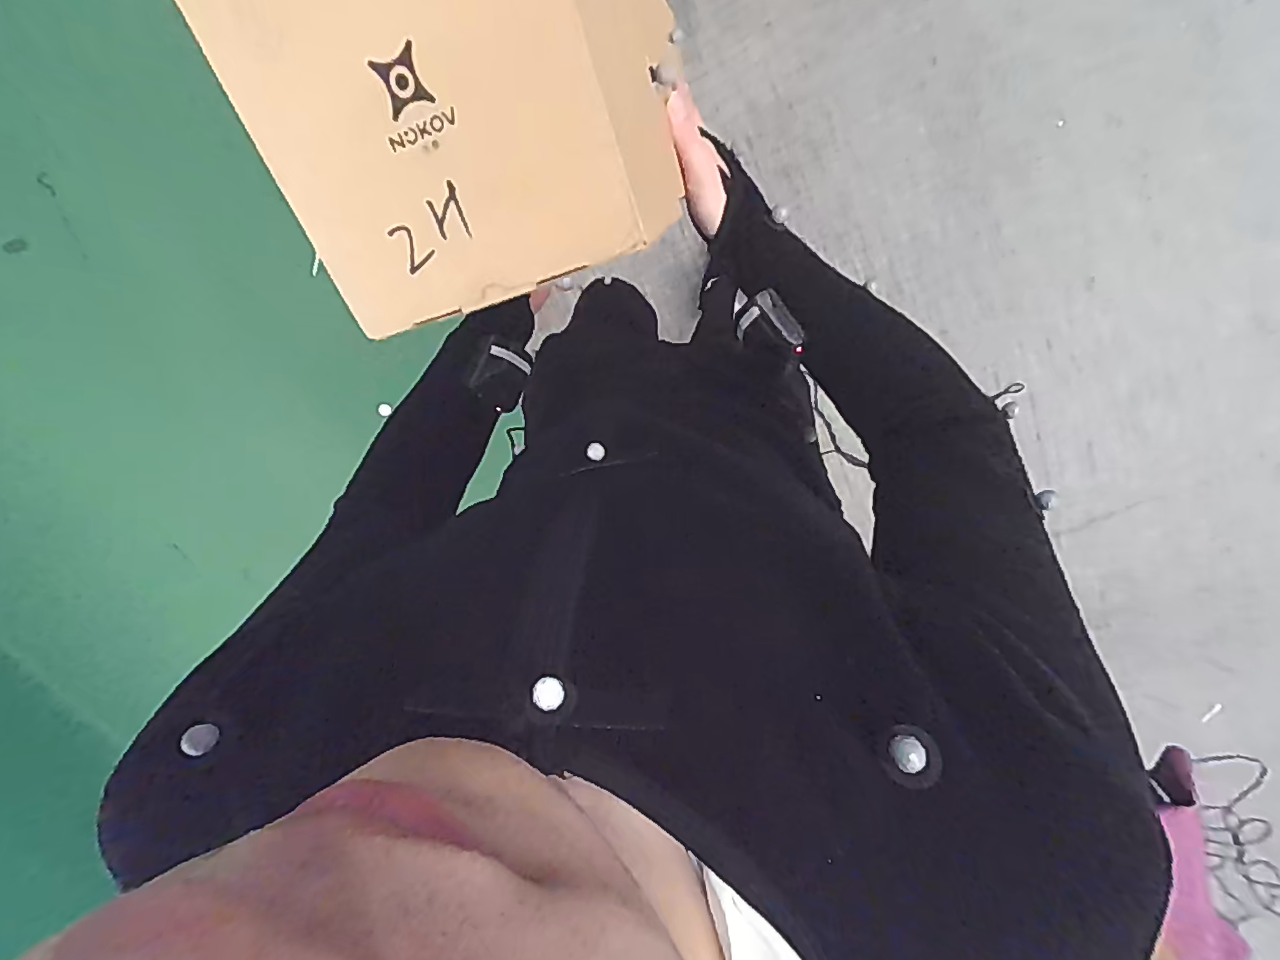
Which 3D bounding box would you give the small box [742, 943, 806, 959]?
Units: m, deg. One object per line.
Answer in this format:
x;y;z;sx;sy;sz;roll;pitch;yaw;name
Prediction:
0.380;1.400;1.469;0.168;0.176;0.179;-20;111;19;small box

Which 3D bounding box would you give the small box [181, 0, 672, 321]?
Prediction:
-0.089;-0.213;0.303;0.168;0.176;0.179;-12;117;18;small box

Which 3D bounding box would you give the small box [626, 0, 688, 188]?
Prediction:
-0.064;-0.309;0.436;0.168;0.176;0.179;-11;118;17;small box
